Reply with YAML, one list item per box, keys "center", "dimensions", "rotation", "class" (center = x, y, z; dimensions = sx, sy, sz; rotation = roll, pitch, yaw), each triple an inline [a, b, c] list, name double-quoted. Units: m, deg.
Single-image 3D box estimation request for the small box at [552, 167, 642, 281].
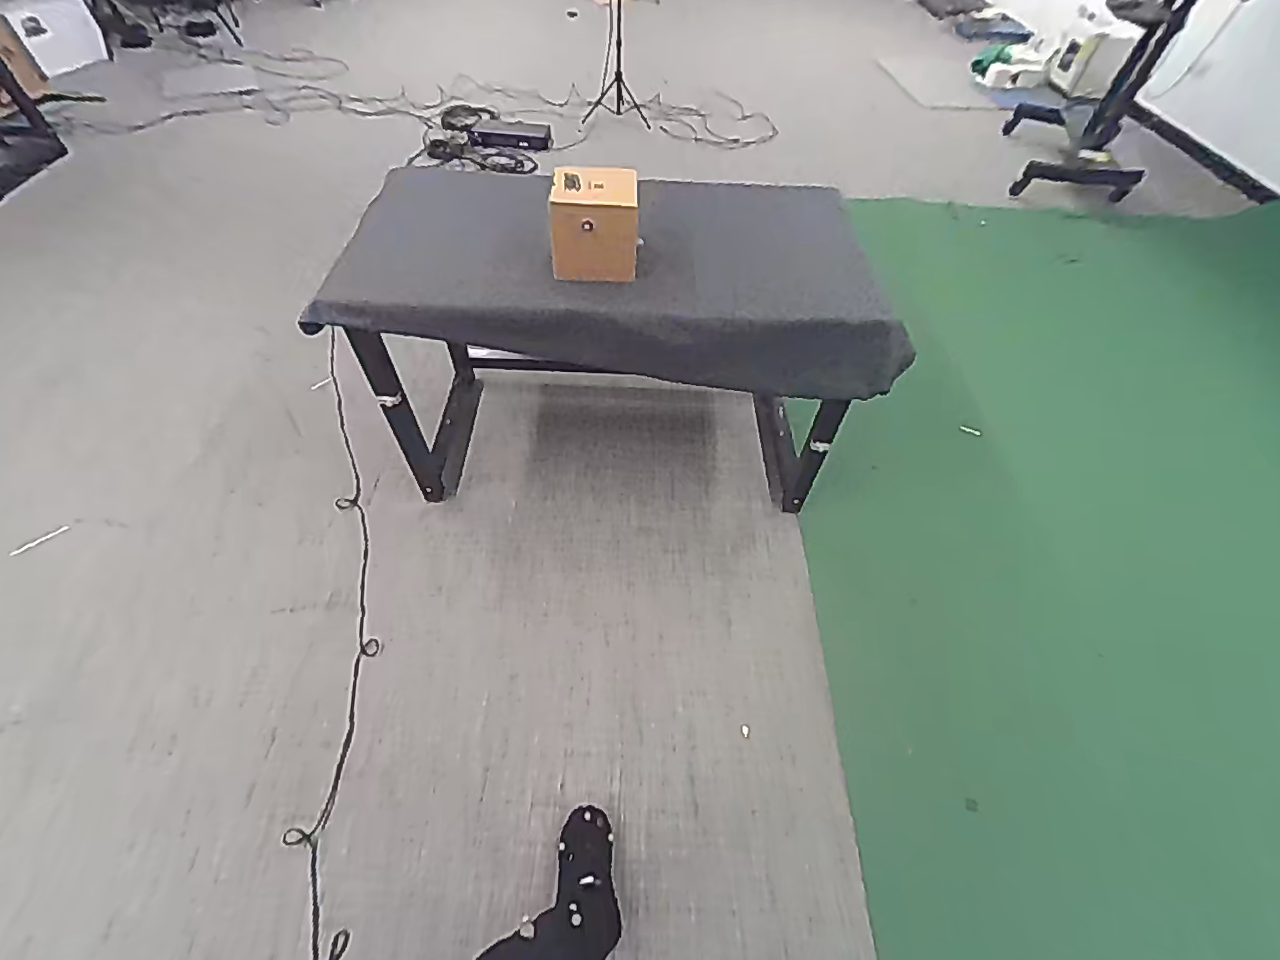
- center: [-0.085, -0.546, 1.159]
  dimensions: [0.179, 0.176, 0.168]
  rotation: [1, 52, -2]
  class: "small box"
